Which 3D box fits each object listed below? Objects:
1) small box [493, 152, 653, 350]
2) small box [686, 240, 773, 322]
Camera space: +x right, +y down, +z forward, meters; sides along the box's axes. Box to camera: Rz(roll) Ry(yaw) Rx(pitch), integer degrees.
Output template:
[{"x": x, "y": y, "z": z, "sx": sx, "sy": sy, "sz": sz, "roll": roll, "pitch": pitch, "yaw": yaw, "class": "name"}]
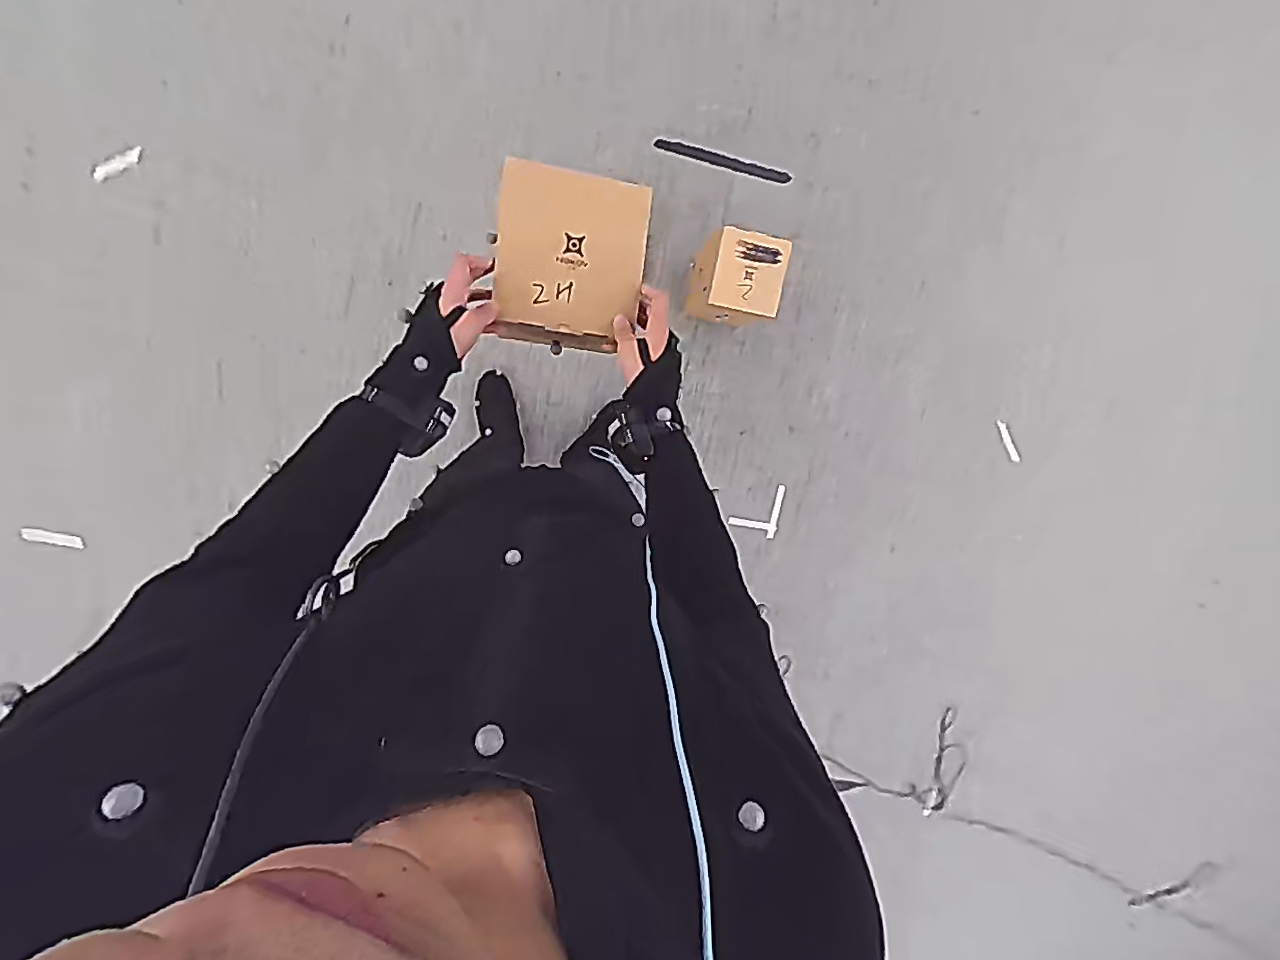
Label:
[{"x": -0.091, "y": -0.271, "z": 0.684, "sx": 0.168, "sy": 0.176, "sz": 0.179, "roll": 6, "pitch": 97, "yaw": -12, "class": "small box"}, {"x": 0.236, "y": -0.535, "z": 1.478, "sx": 0.179, "sy": 0.176, "sz": 0.168, "roll": 11, "pitch": 101, "yaw": -9, "class": "small box"}]
